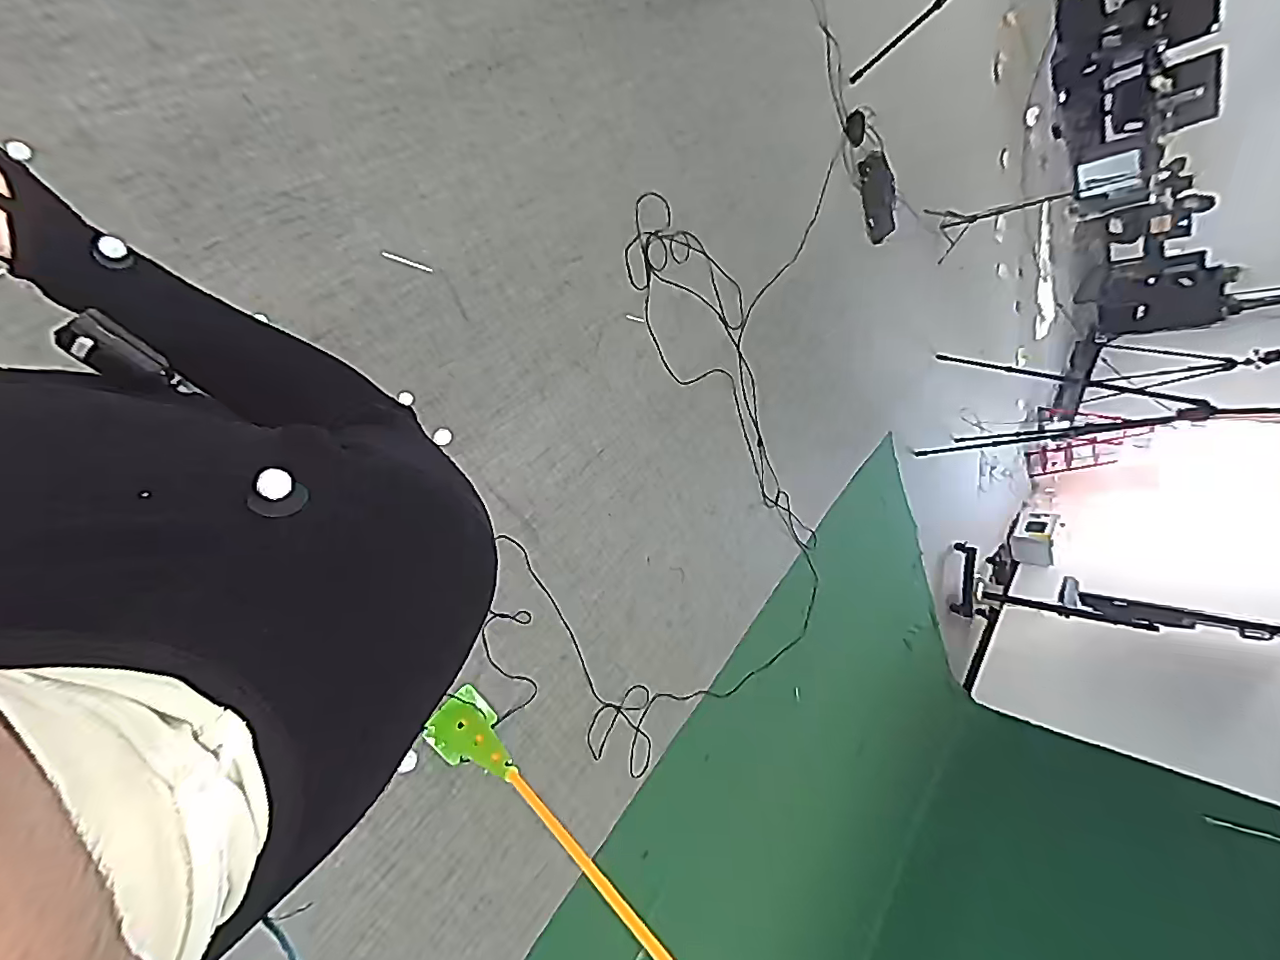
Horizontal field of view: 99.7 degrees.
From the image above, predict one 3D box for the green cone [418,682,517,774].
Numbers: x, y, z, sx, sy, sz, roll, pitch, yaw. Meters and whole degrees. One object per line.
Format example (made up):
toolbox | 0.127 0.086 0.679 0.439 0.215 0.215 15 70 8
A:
green cone | -0.490 0.813 1.666 0.202 0.368 0.200 -45 122 -31
